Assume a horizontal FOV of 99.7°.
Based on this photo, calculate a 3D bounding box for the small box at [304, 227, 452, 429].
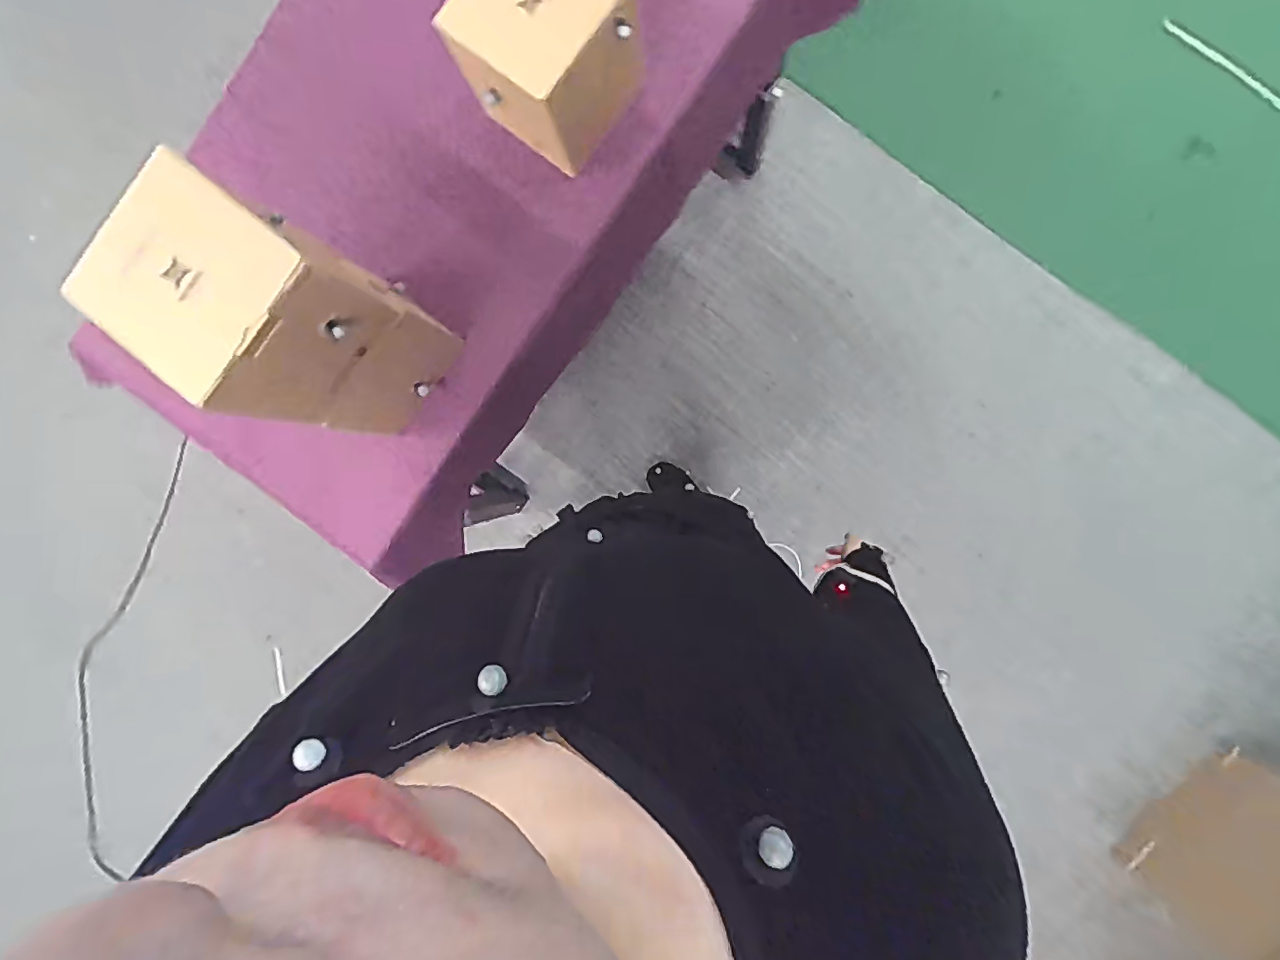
[{"bbox_3d":[-0.381,-0.187,0.723,0.168,0.176,0.179,38,94,4],"label":"small box"}]

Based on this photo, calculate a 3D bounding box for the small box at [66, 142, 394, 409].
[{"bbox_3d":[-0.399,-0.188,0.560,0.179,0.176,0.168,39,94,4],"label":"small box"}]

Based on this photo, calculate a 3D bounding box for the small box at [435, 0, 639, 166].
[{"bbox_3d":[-0.115,-0.552,0.690,0.168,0.176,0.179,39,94,4],"label":"small box"}]
